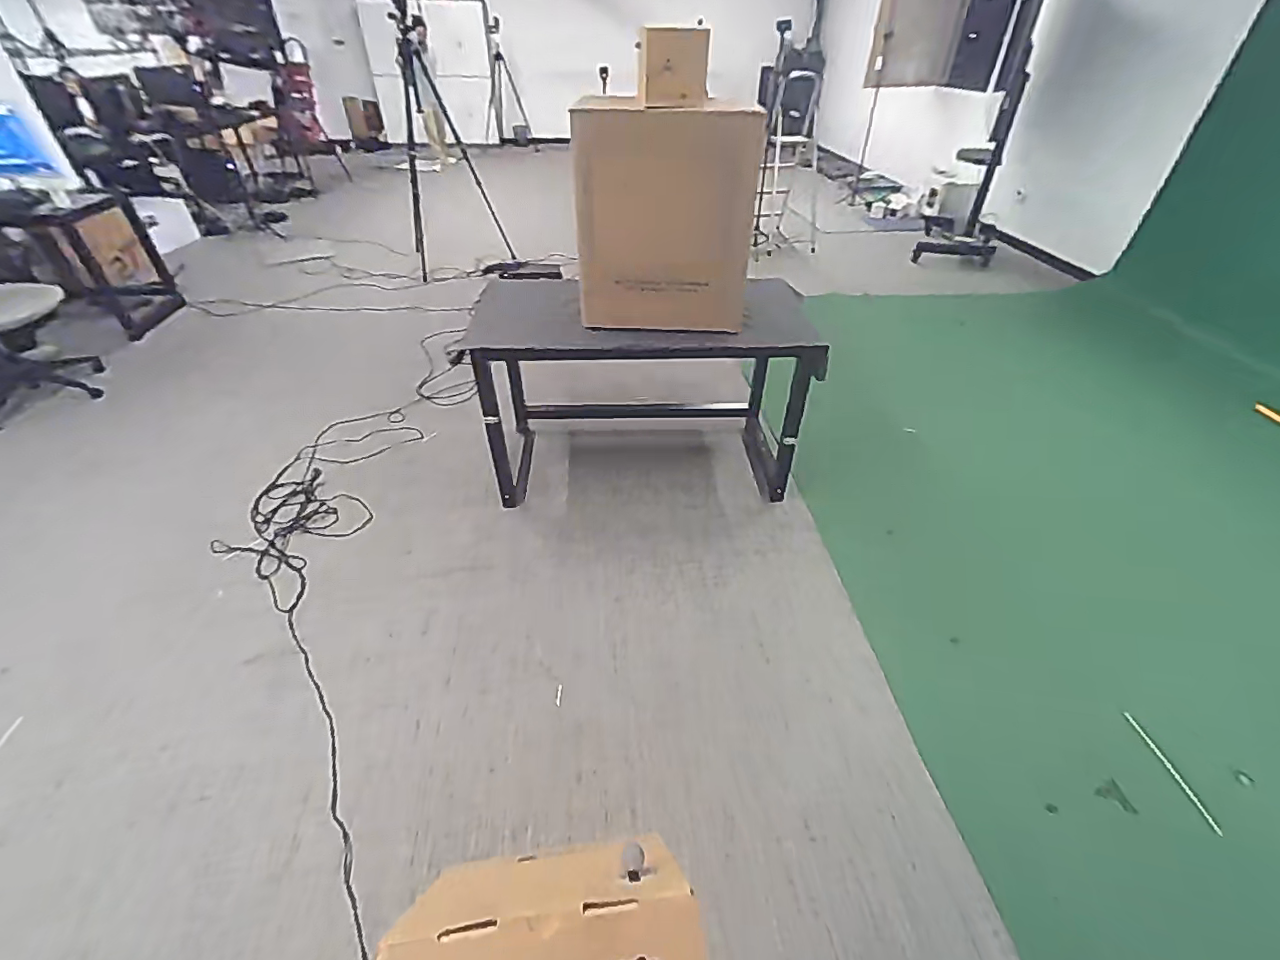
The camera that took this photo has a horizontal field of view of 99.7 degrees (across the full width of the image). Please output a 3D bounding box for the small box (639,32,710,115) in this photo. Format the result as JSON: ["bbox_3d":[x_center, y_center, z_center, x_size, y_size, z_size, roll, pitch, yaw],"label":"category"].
[{"bbox_3d":[0.089,-1.096,1.459,0.168,0.176,0.179,-4,41,-5],"label":"small box"}]
